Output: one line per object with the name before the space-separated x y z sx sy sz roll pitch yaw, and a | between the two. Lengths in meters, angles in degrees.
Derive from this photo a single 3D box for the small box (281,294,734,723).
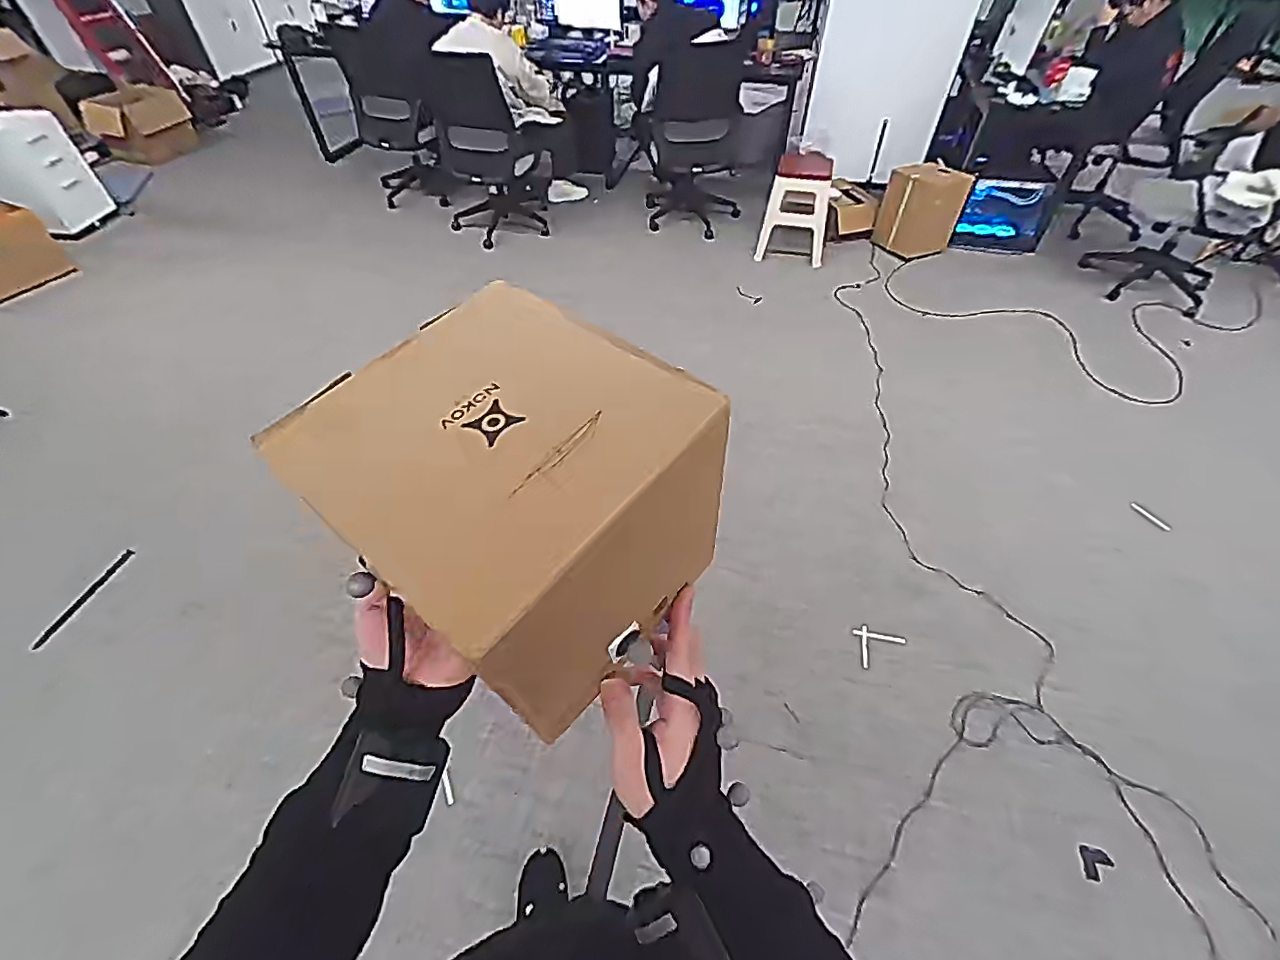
small box | -0.065 0.021 0.340 0.179 0.176 0.168 33 63 23
